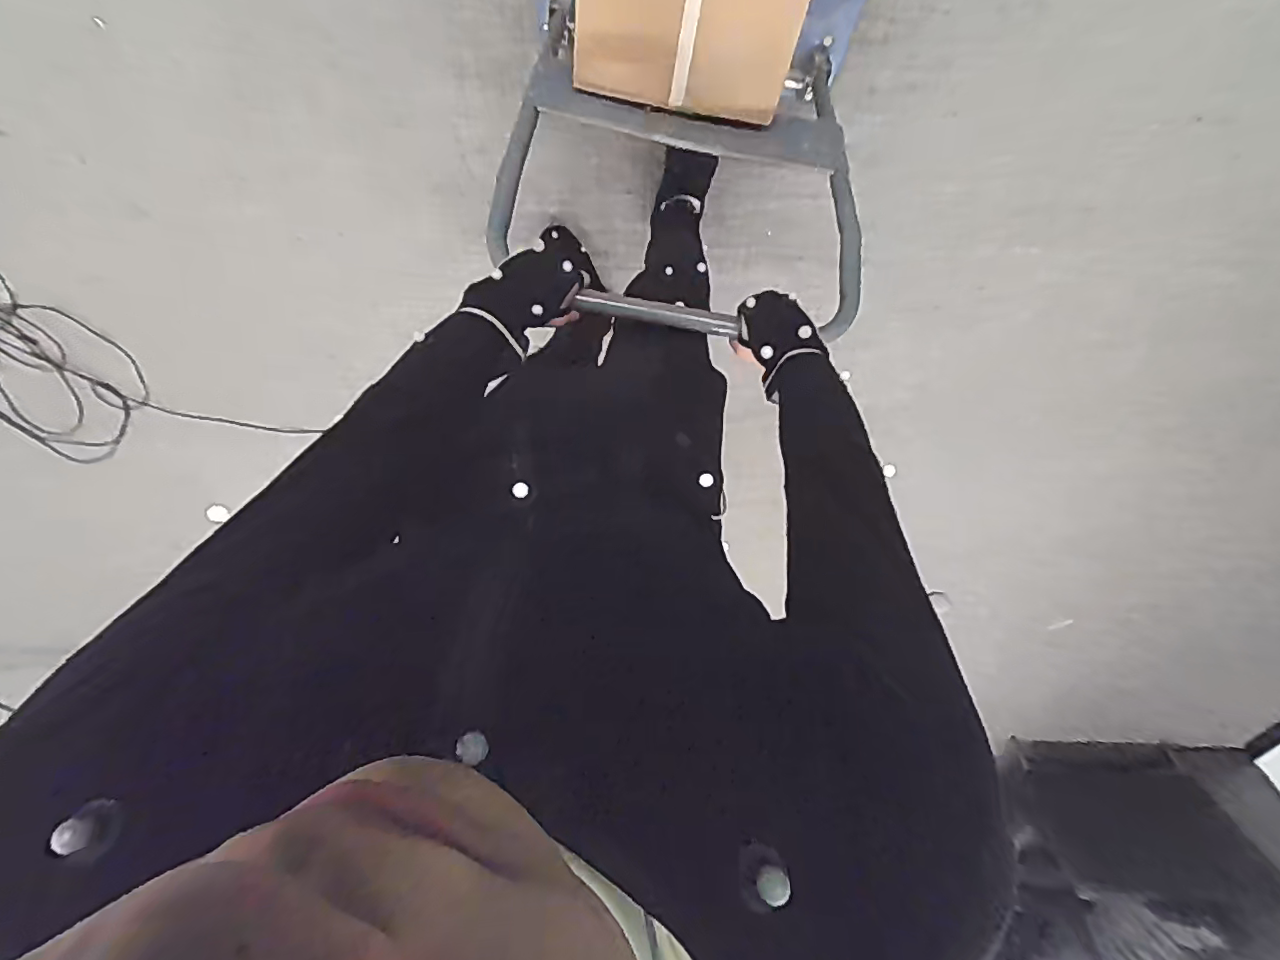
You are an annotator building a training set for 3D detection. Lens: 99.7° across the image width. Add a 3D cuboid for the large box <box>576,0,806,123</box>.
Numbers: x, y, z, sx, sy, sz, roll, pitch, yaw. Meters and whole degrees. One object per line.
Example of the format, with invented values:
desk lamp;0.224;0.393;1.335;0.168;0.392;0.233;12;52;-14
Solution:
large box;0.092;-0.818;0.774;0.320;0.320;0.408;8;145;-5
